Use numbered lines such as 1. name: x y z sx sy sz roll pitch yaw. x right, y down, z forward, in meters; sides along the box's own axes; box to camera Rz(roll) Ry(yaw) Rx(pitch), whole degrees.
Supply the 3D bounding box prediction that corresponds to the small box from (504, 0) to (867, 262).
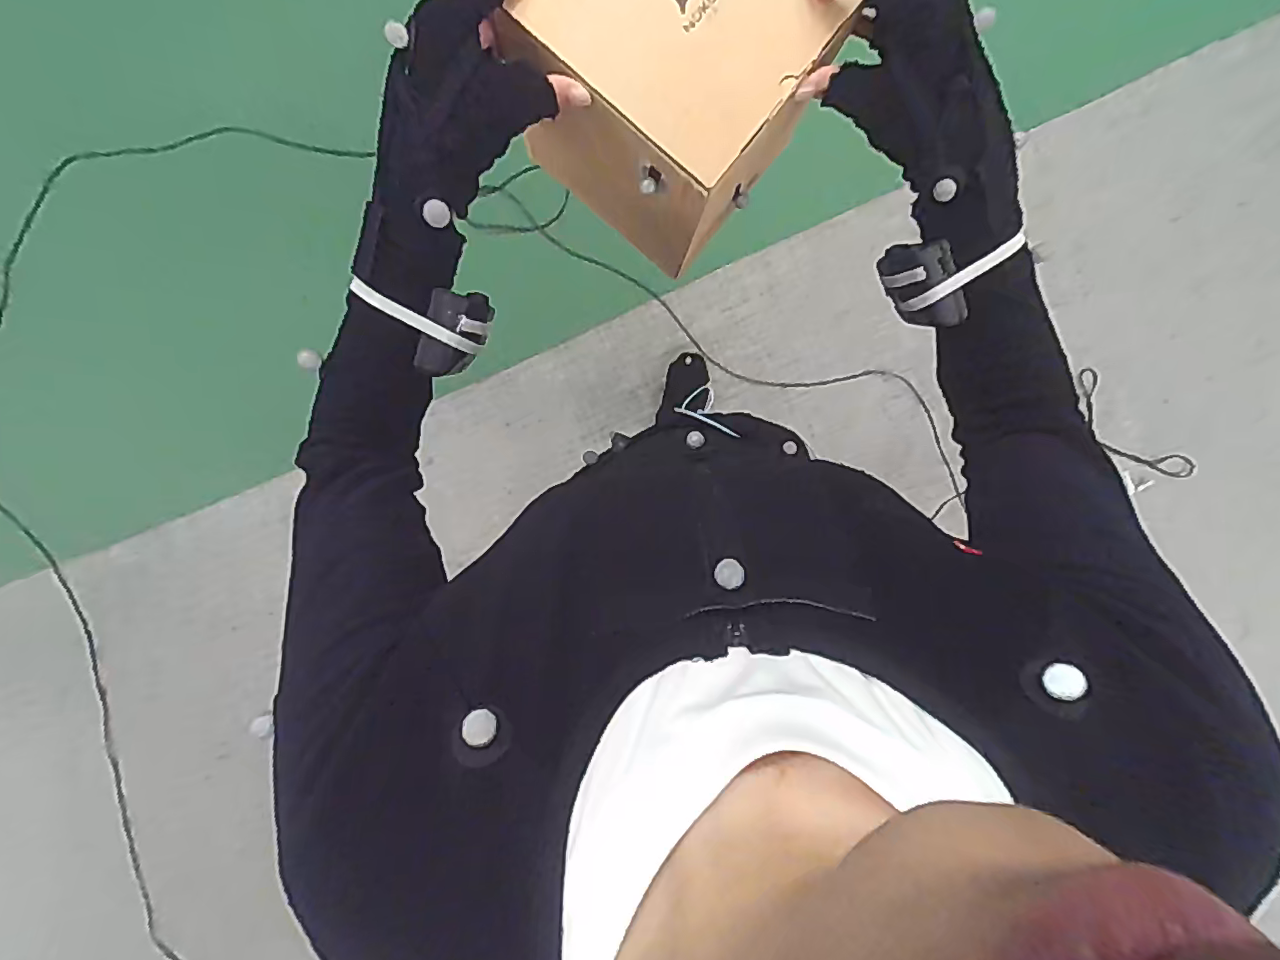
1. small box: 0.024 -0.305 0.417 0.179 0.176 0.168 39 89 -6
